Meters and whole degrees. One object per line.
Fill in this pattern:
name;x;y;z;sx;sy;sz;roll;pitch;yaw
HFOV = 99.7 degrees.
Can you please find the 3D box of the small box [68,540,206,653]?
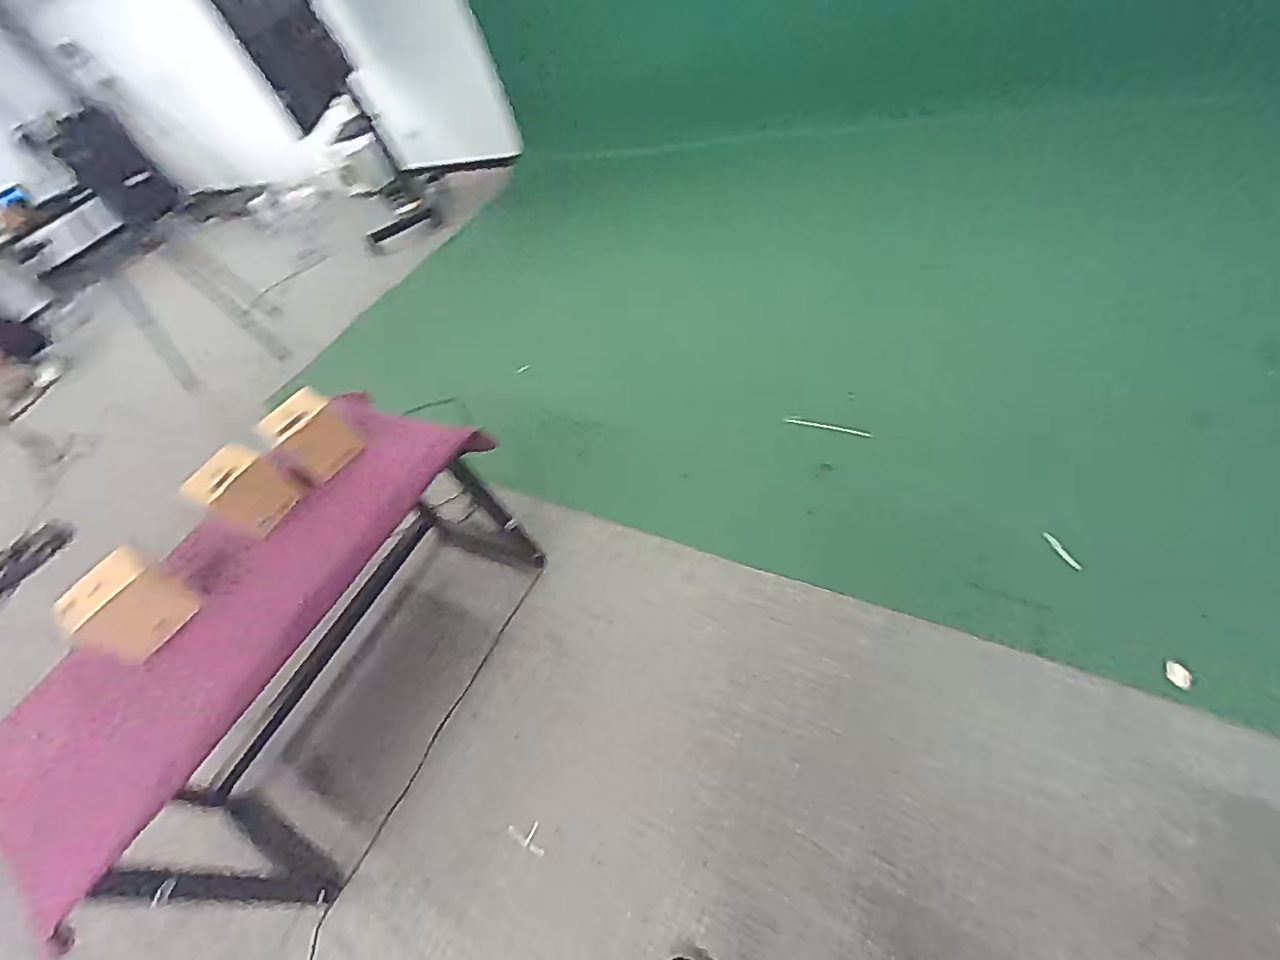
small box;-1.203;0.283;1.309;0.168;0.176;0.179;23;63;34
